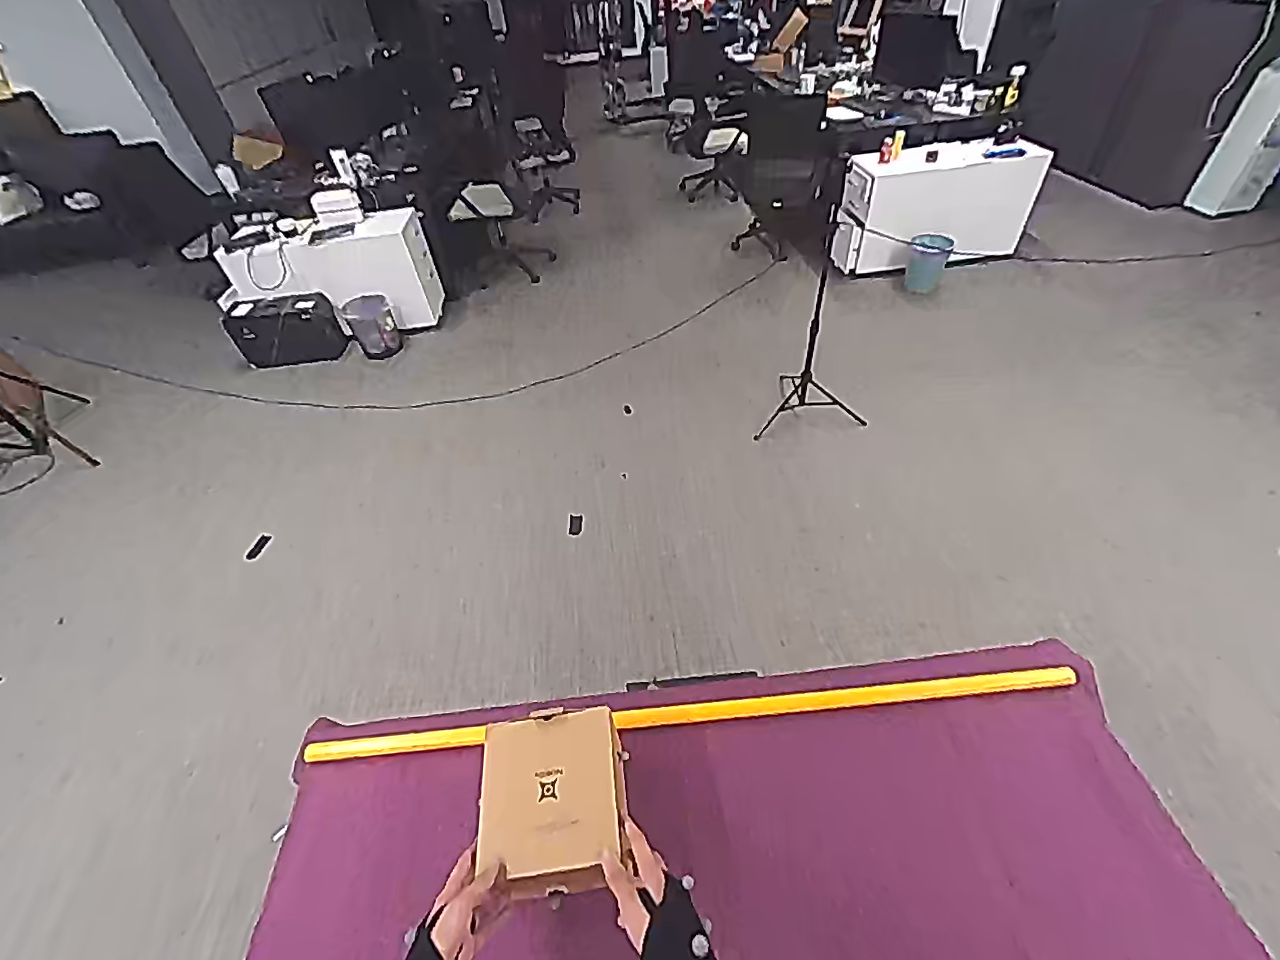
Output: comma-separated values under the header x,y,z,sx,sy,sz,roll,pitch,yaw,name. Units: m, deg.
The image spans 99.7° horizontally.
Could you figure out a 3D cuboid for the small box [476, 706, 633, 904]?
x,y,z,sx,sy,sz,roll,pitch,yaw,name
-0.103,0.426,0.710,0.168,0.176,0.179,-9,46,-2,small box
